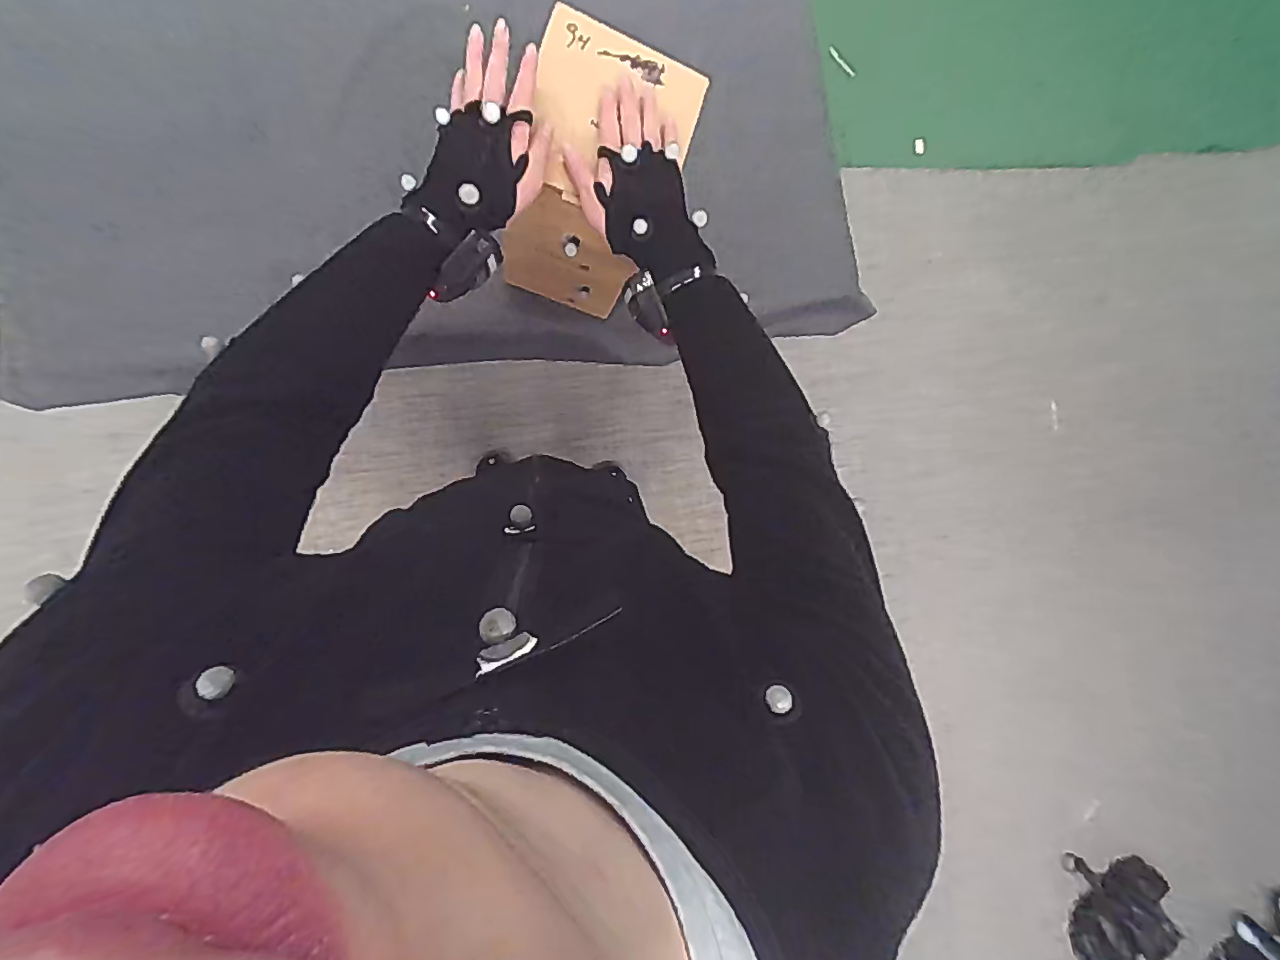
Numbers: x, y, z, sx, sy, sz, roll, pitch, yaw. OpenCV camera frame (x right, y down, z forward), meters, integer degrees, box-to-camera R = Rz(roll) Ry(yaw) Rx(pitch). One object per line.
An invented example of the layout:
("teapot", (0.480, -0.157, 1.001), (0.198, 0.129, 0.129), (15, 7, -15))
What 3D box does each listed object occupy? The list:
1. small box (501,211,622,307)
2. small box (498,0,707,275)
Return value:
("small box", (-0.088, -0.370, 0.761), (0.168, 0.176, 0.179), (17, 85, -13))
("small box", (-0.049, -0.357, 0.602), (0.168, 0.176, 0.179), (18, 88, -14))
